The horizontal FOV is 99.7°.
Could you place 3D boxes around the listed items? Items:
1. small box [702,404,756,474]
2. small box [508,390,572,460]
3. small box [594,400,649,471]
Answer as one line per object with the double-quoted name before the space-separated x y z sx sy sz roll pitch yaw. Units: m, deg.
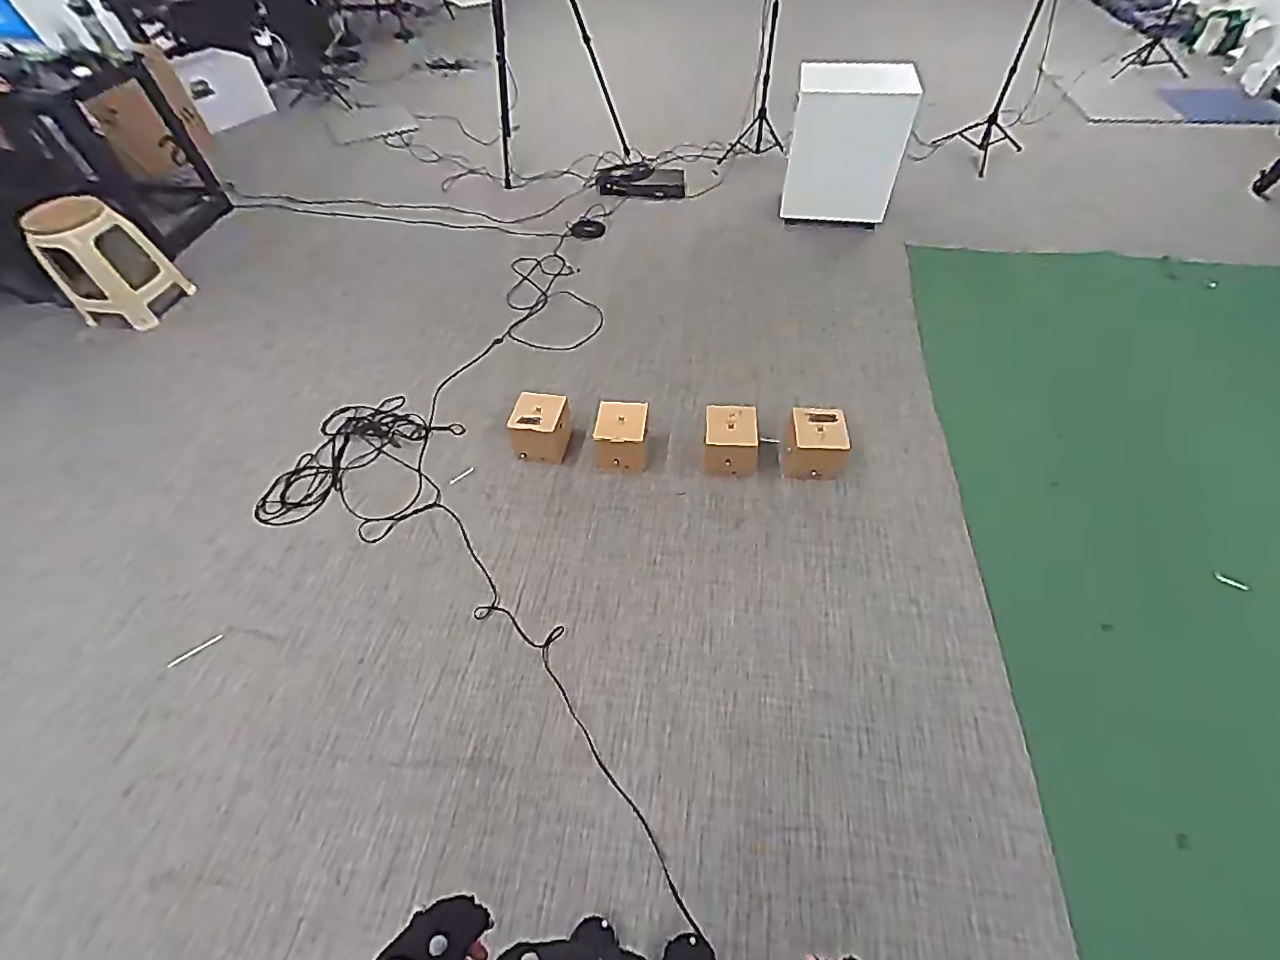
"small box" 0.300 -0.135 1.837 0.168 0.176 0.179 3 53 4
"small box" -0.344 -0.191 1.908 0.168 0.176 0.179 8 53 8
"small box" -0.058 -0.155 1.870 0.168 0.176 0.179 4 54 6
